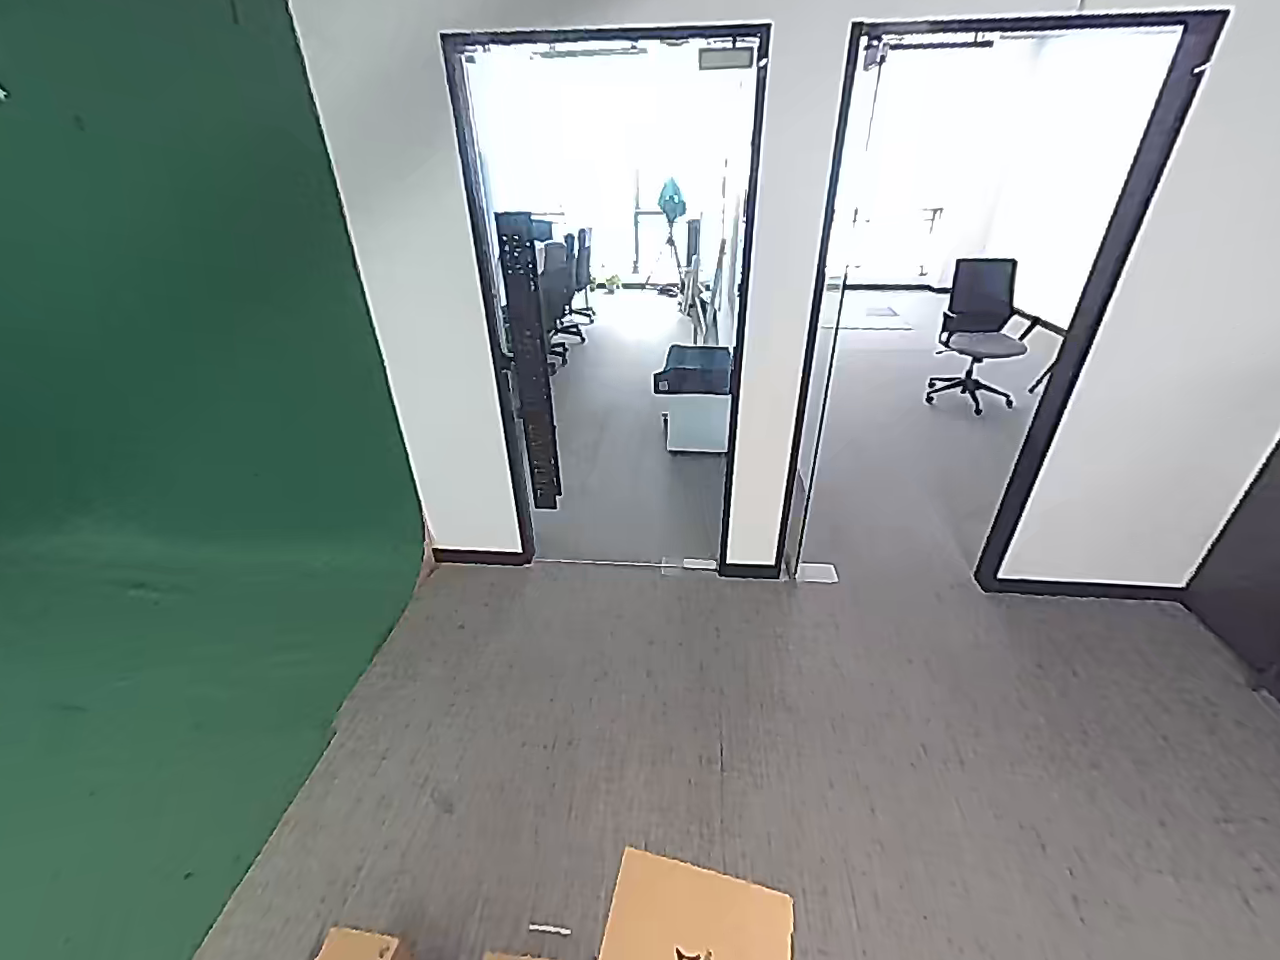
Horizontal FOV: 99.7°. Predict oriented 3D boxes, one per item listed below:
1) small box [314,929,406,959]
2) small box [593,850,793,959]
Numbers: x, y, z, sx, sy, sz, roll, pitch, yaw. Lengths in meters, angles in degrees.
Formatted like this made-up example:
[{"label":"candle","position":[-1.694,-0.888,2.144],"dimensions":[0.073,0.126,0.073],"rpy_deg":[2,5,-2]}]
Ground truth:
[{"label":"small box","position":[-0.646,1.157,1.212],"dimensions":[0.179,0.176,0.168],"rpy_deg":[4,30,9]},{"label":"small box","position":[0.040,0.503,0.517],"dimensions":[0.179,0.176,0.168],"rpy_deg":[11,34,10]}]
